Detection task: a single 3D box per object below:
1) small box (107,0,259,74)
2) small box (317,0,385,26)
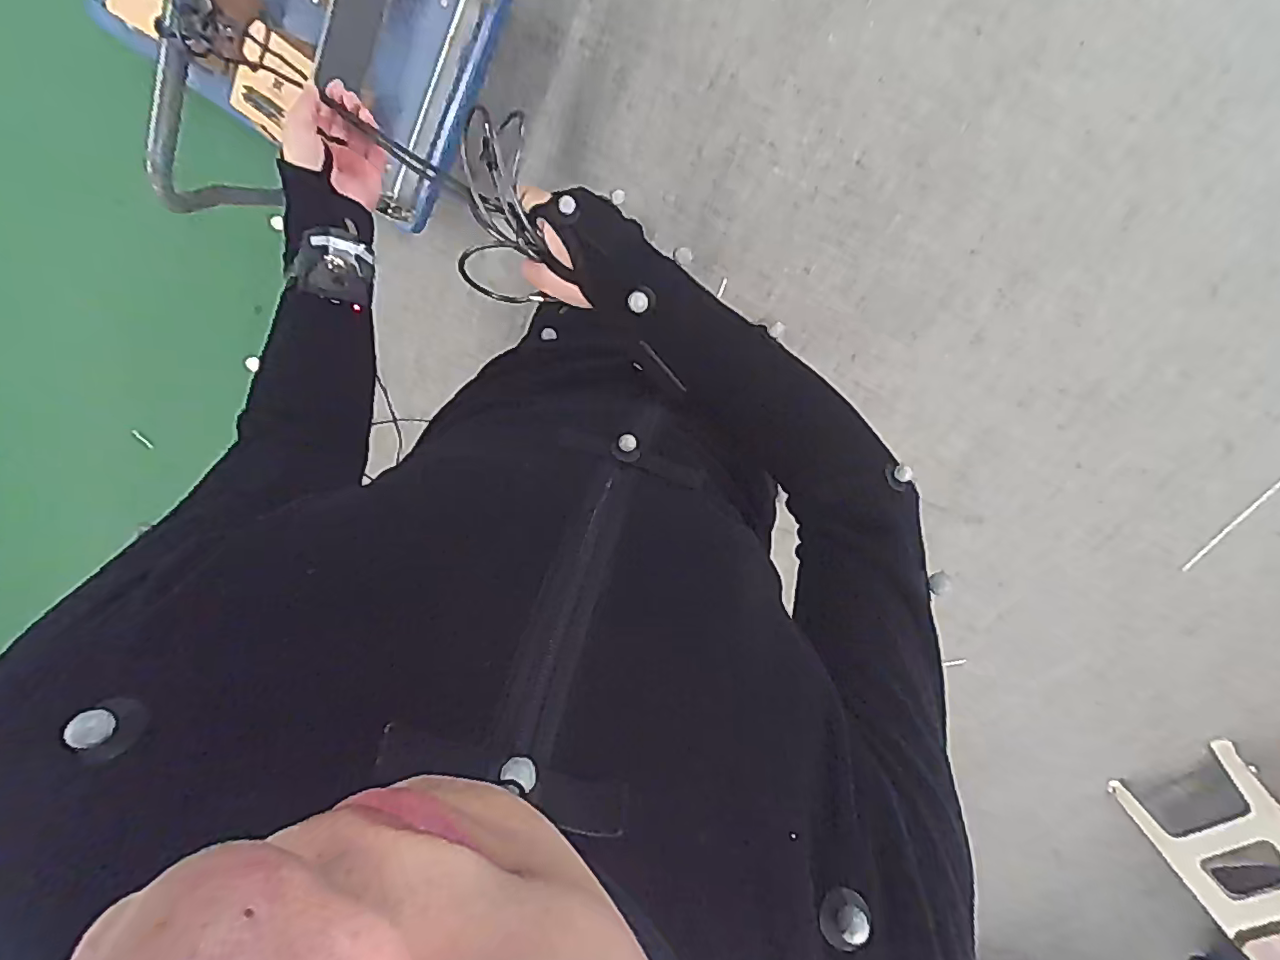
[{"bbox_3d":[-0.946,-0.989,1.129,0.179,0.176,0.168,31,116,-4],"label":"small box"},{"bbox_3d":[-0.608,-1.035,1.045,0.179,0.176,0.168,35,116,-7],"label":"small box"}]
